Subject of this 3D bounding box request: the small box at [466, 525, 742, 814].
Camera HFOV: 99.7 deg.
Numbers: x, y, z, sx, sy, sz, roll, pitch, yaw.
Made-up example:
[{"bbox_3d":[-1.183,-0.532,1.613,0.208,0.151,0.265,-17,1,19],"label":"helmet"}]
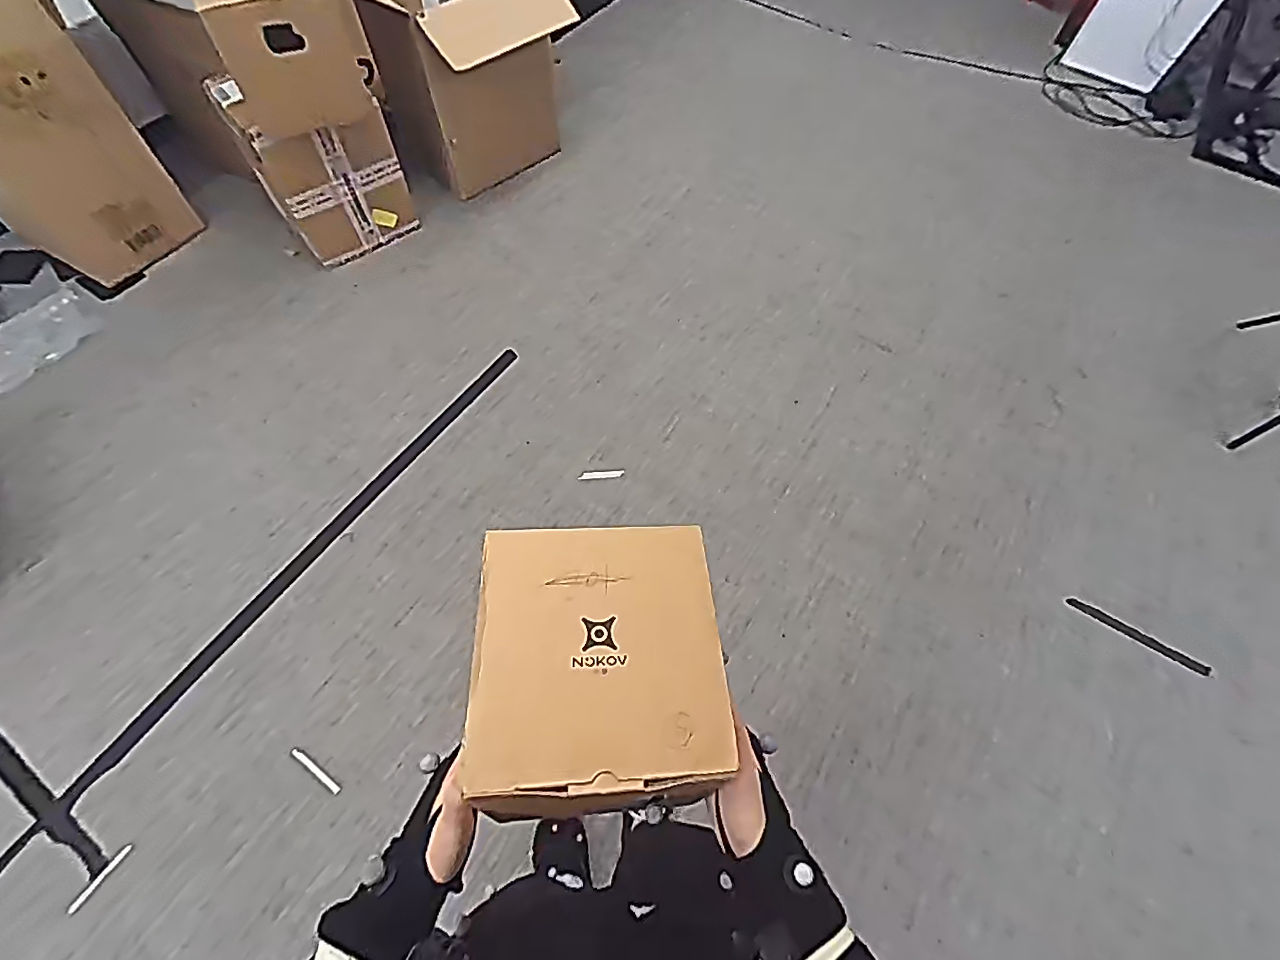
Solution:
[{"bbox_3d":[-0.032,0.153,0.426,0.168,0.176,0.179,-1,53,-8],"label":"small box"}]
